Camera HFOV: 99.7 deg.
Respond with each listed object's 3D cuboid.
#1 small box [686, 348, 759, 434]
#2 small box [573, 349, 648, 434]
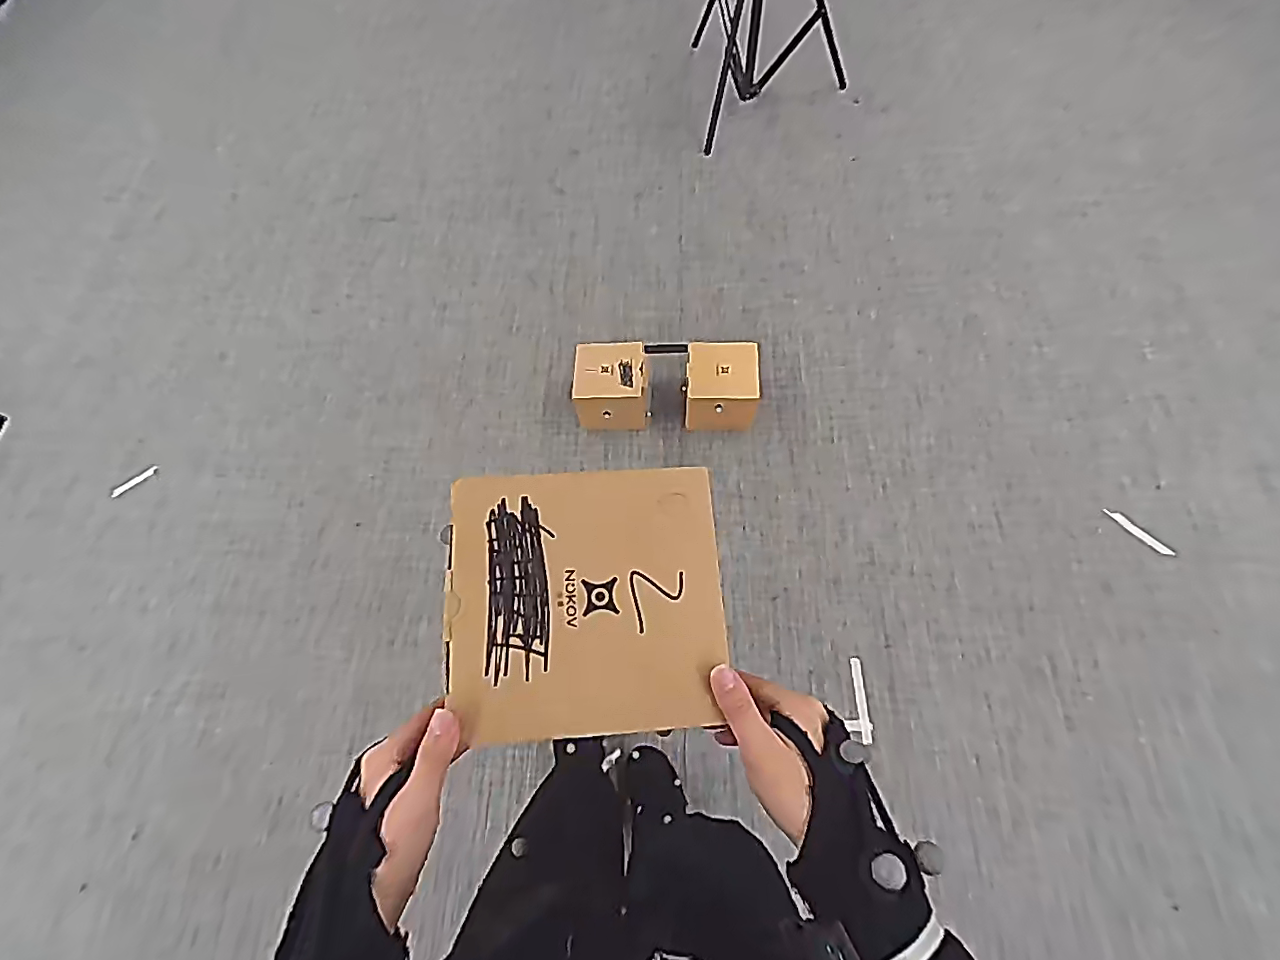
[{"bbox_3d":[0.211,-0.230,1.422,0.179,0.176,0.168,1,68,5],"label":"small box"},{"bbox_3d":[-0.072,-0.232,1.441,0.179,0.176,0.168,0,67,5],"label":"small box"}]
